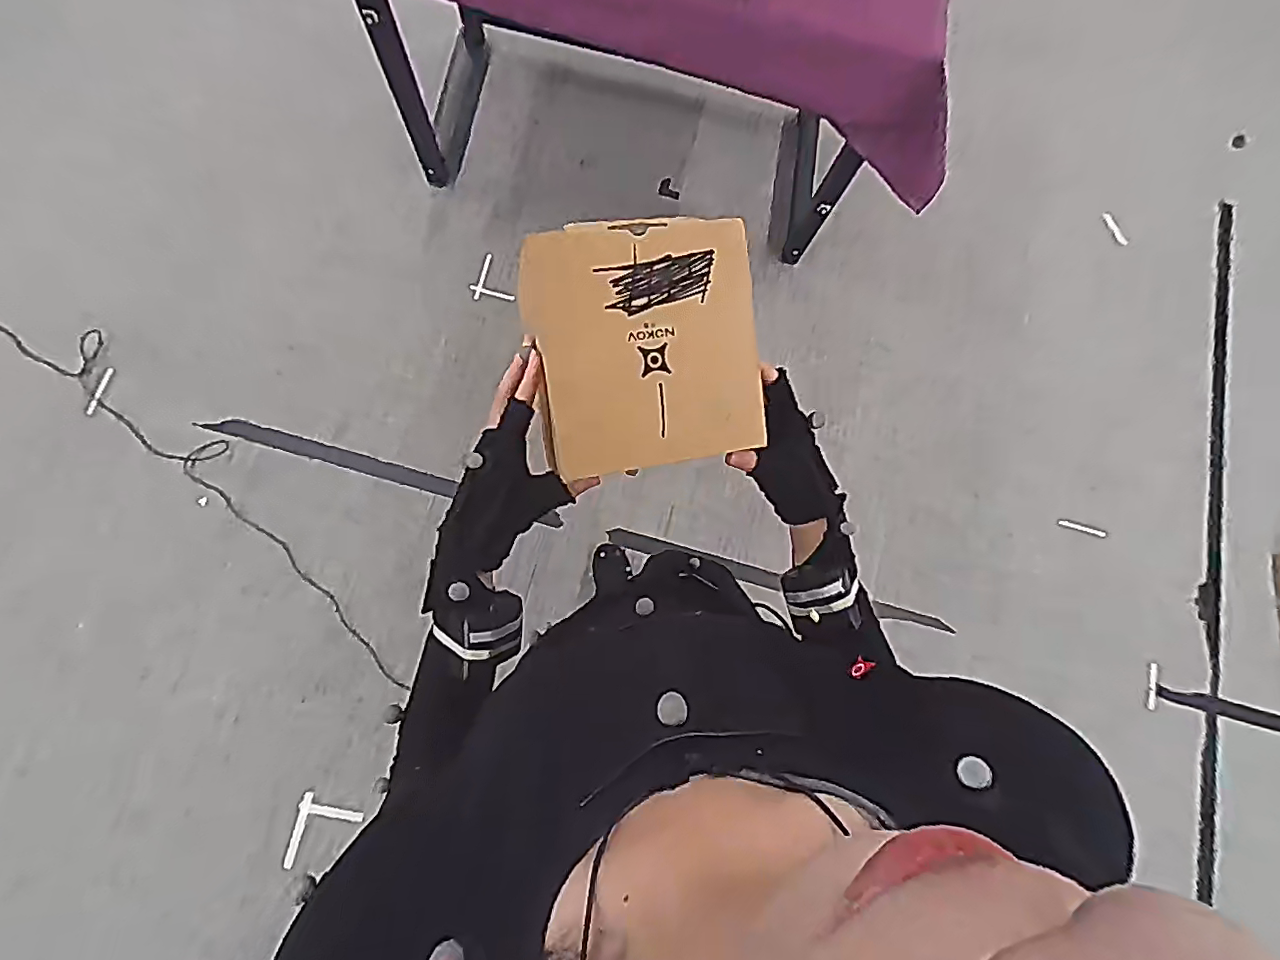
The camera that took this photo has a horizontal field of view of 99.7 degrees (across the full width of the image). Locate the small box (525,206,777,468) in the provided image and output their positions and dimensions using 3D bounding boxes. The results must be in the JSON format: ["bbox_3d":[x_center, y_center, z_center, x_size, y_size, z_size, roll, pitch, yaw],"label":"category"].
[{"bbox_3d":[-0.003,-0.111,0.470,0.168,0.176,0.179,-11,97,-12],"label":"small box"}]
